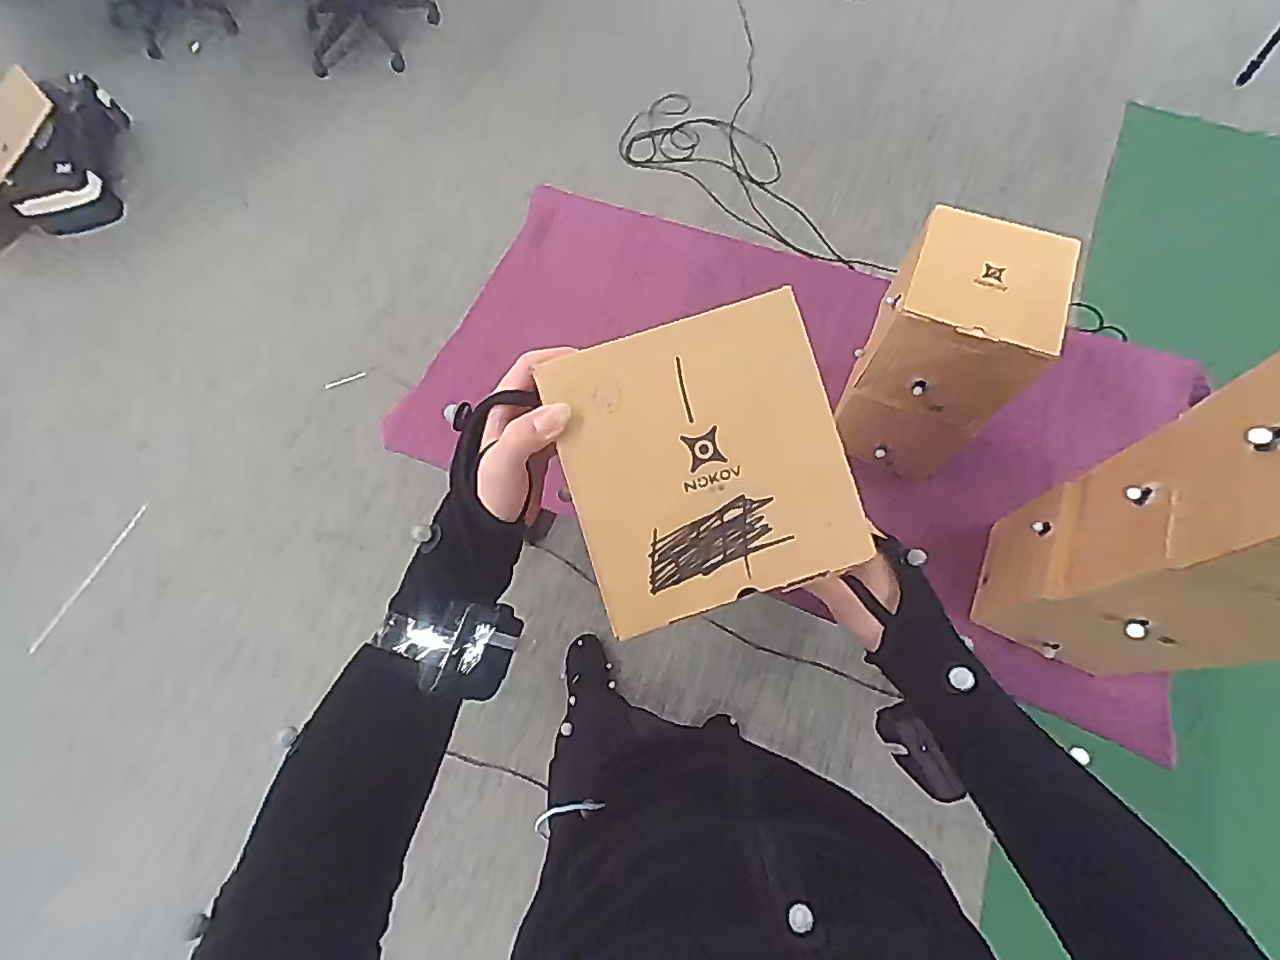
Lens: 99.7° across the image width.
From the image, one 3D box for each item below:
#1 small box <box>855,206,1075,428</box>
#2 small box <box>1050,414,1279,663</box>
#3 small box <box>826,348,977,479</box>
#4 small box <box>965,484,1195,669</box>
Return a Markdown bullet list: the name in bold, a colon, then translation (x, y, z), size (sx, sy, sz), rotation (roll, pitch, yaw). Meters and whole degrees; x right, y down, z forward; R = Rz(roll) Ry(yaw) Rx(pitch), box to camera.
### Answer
- **small box**: translation (0.394, -0.196, 0.681), size (0.168, 0.176, 0.179), rotation (22, 71, 10)
- **small box**: translation (0.573, 0.069, 0.562), size (0.168, 0.176, 0.179), rotation (24, 70, 13)
- **small box**: translation (0.406, -0.131, 0.830), size (0.168, 0.176, 0.179), rotation (24, 71, 12)
- **small box**: translation (0.575, 0.135, 0.712), size (0.179, 0.176, 0.168), rotation (24, 69, 13)
